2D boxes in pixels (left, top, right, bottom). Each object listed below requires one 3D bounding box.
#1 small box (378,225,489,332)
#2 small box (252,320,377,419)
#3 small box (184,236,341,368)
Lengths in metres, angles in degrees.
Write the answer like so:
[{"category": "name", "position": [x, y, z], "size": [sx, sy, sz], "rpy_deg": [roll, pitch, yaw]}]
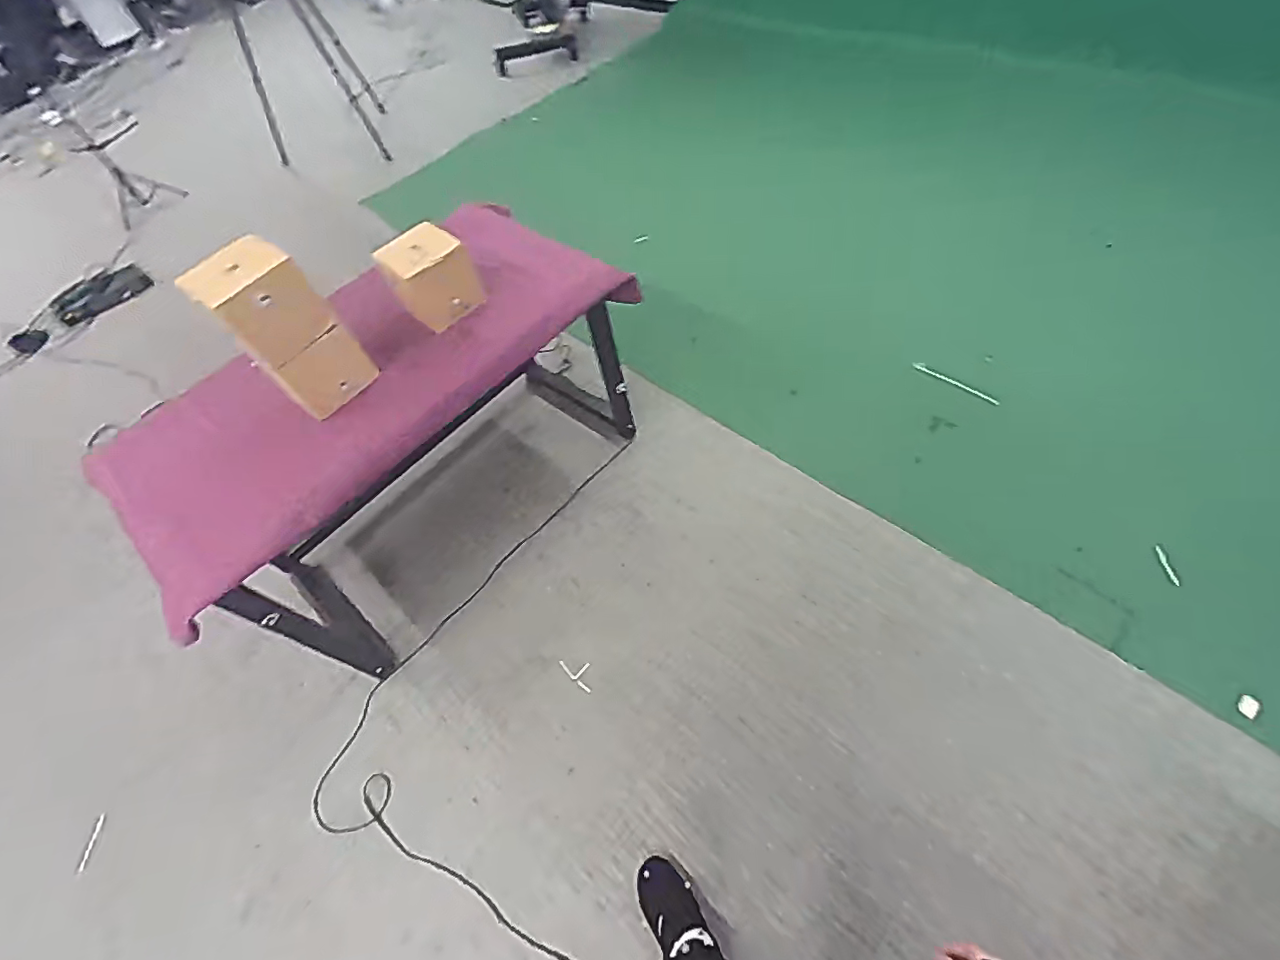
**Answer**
[{"category": "small box", "position": [-0.519, -0.509, 1.376], "size": [0.179, 0.176, 0.168], "rpy_deg": [37, 70, 28]}, {"category": "small box", "position": [-0.748, -0.277, 1.260], "size": [0.168, 0.176, 0.179], "rpy_deg": [31, 66, 26]}, {"category": "small box", "position": [-0.772, -0.365, 1.124], "size": [0.168, 0.176, 0.179], "rpy_deg": [31, 67, 25]}]
